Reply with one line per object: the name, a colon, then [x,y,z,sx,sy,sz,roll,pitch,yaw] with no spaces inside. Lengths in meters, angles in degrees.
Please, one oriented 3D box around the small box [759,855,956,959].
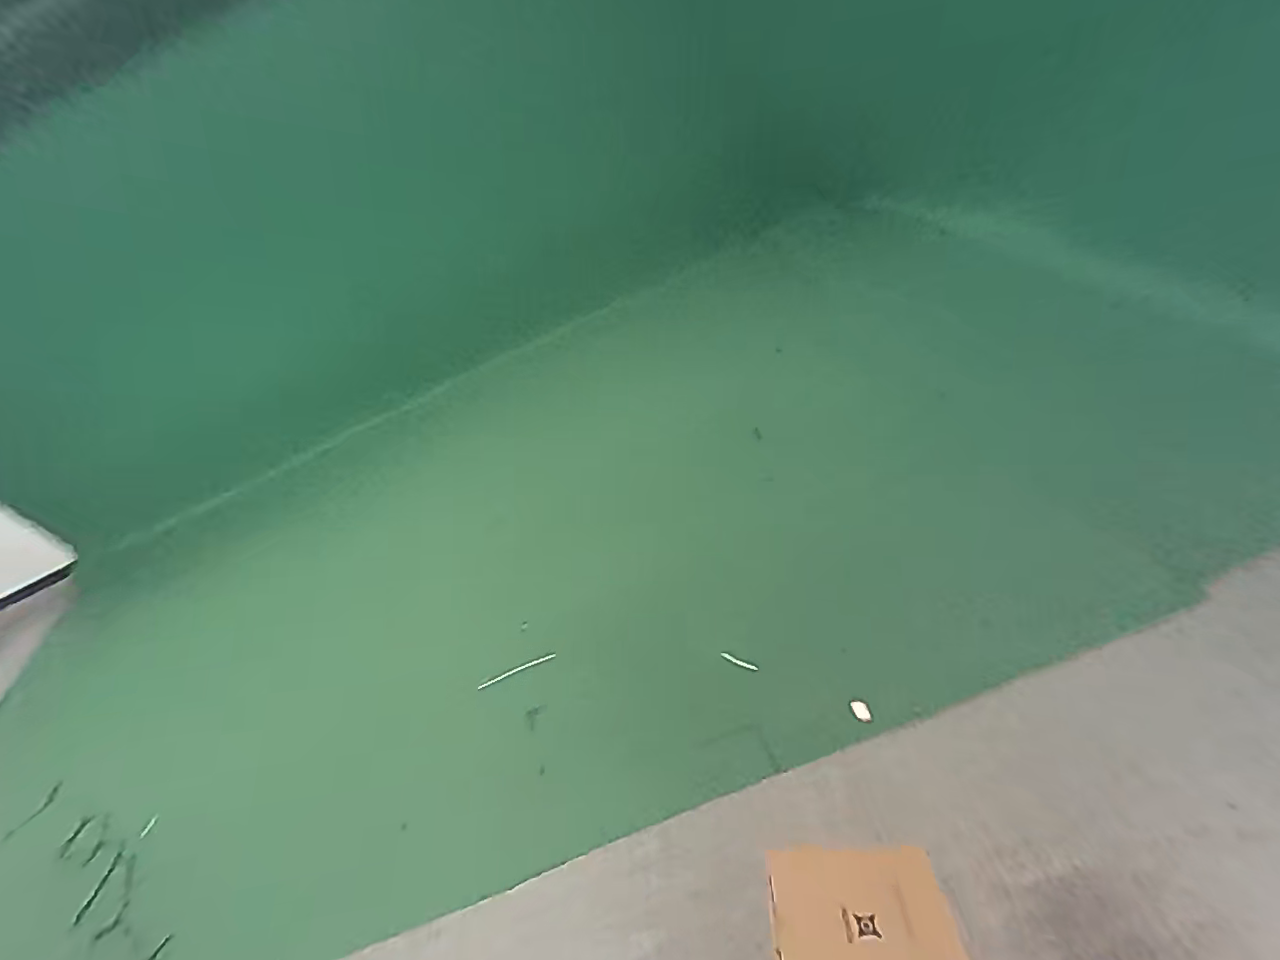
small box: [0.226,0.529,0.559,0.179,0.176,0.168,-6,17,8]
